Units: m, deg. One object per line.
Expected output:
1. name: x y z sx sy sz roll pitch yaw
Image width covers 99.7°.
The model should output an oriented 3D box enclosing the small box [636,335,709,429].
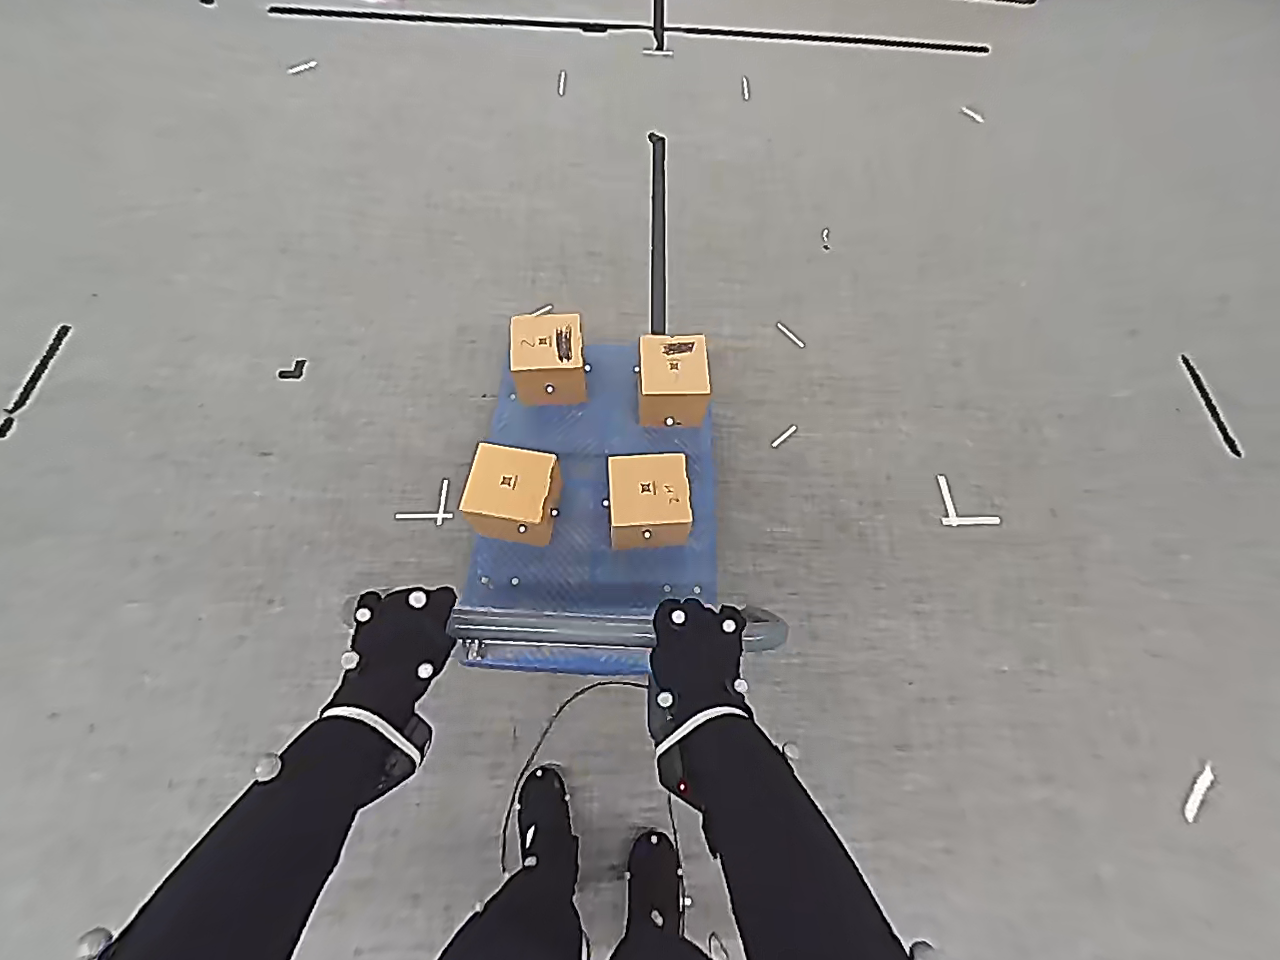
1. small box: 0.077 -0.248 1.383 0.168 0.176 0.179 -1 67 -3

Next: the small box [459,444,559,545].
1. small box: -0.289 0.040 1.236 0.179 0.176 0.168 9 65 0

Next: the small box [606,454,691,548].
1. small box: 0.015 0.053 1.245 0.179 0.176 0.168 -3 66 -4
